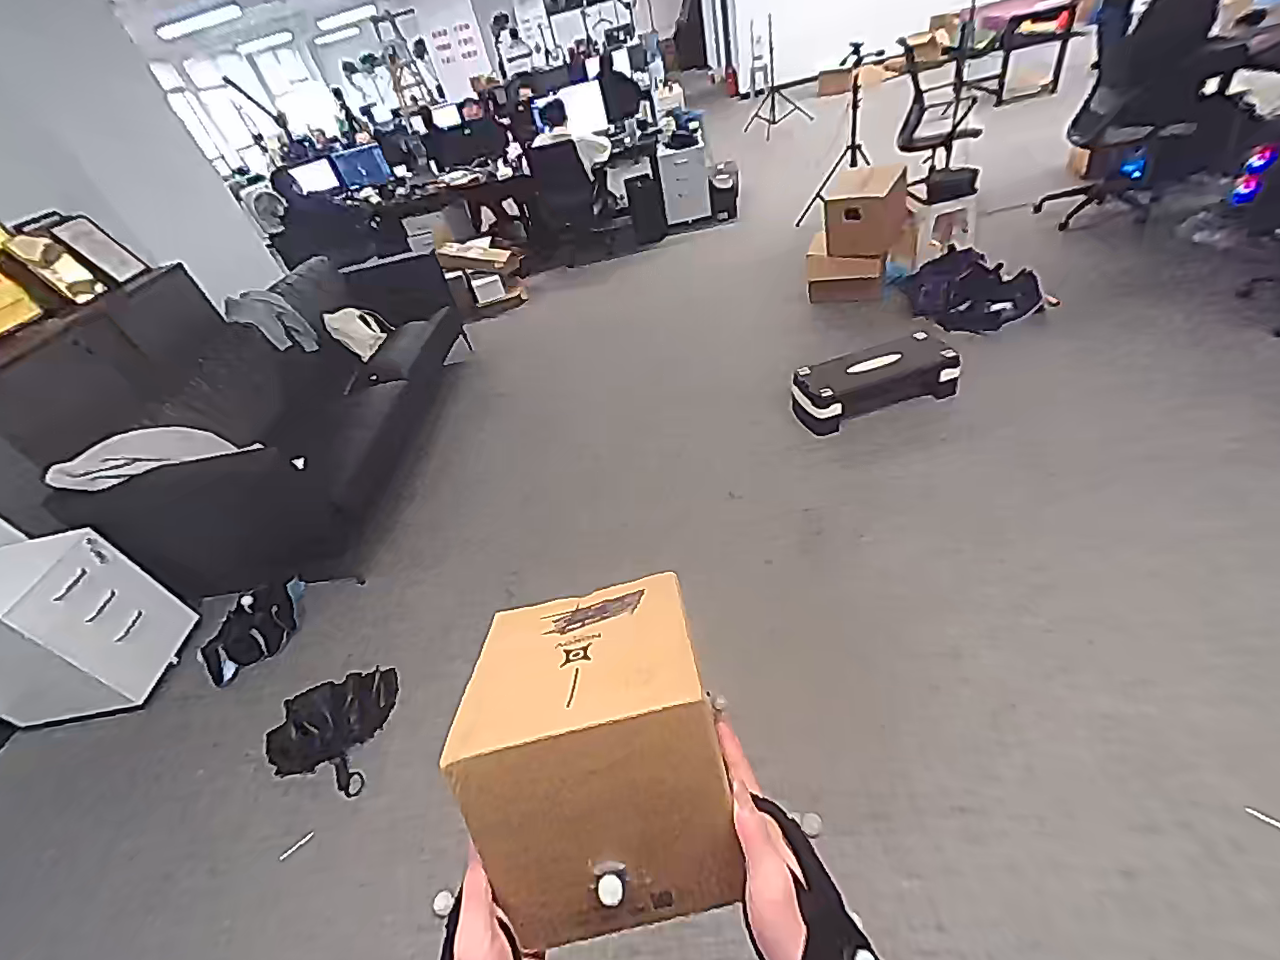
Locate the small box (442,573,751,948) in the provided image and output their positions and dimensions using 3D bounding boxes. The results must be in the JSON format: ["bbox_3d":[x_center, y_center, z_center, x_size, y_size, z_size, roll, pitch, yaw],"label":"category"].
[{"bbox_3d":[-0.024,0.200,0.420,0.168,0.176,0.179,-15,17,2],"label":"small box"}]
